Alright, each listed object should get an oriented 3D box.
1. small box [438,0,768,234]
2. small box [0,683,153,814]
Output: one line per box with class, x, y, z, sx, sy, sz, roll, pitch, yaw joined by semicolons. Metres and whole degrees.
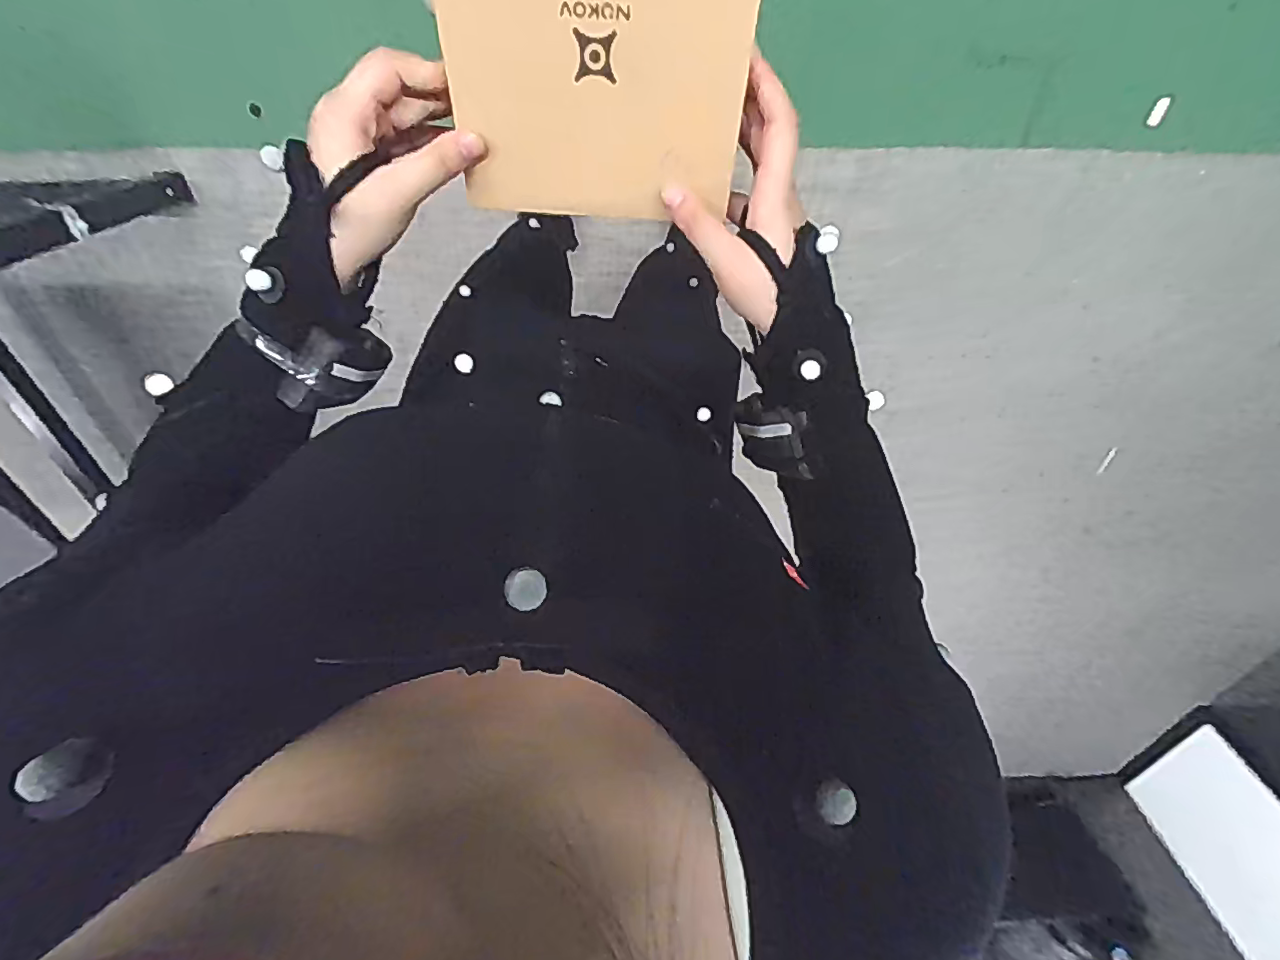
small box;-0.016;-0.280;0.336;0.168;0.176;0.179;3;138;0
small box;-1.081;0.493;1.002;0.179;0.176;0.168;-1;129;-1
